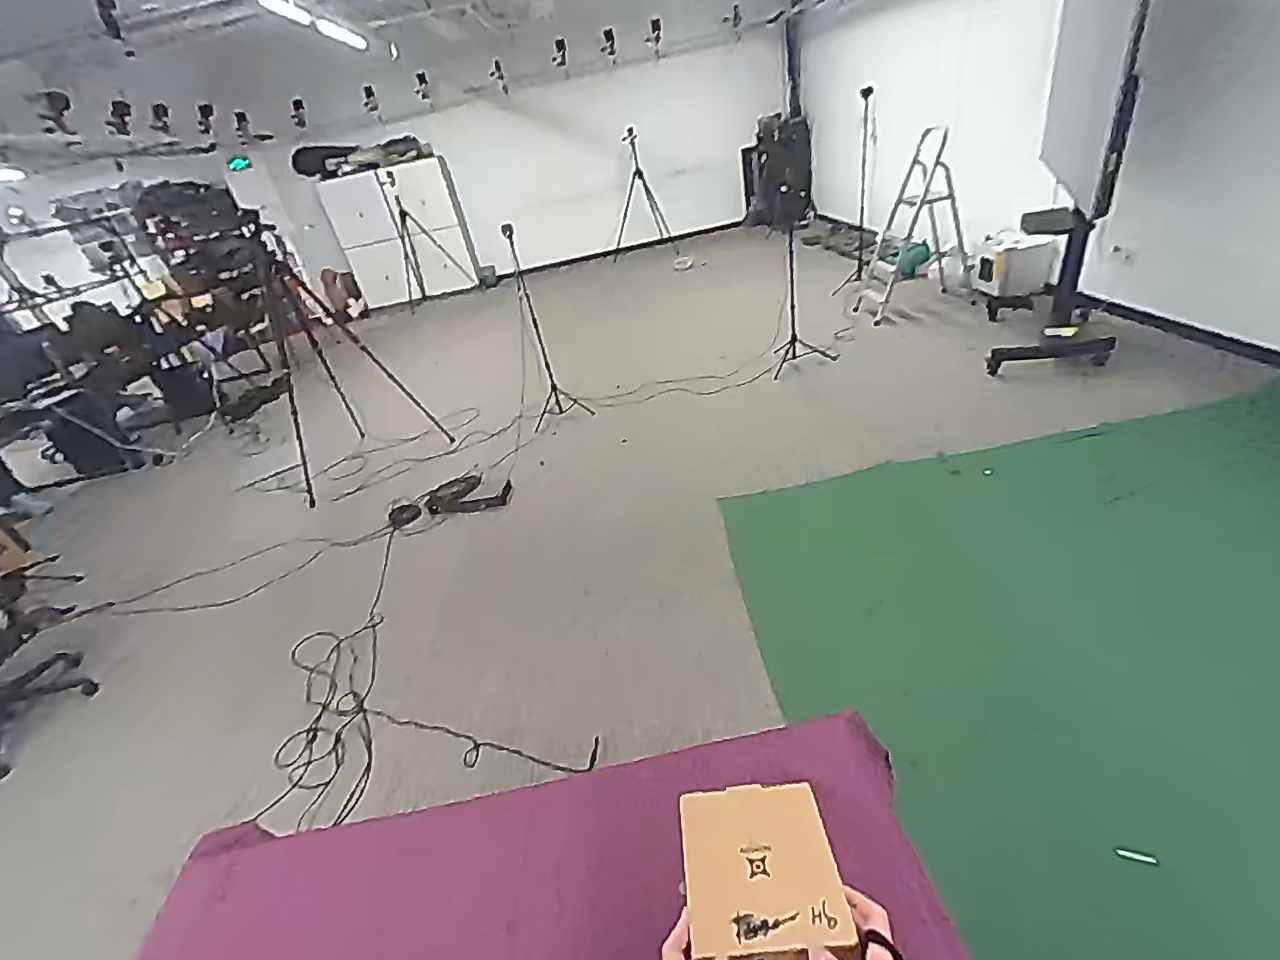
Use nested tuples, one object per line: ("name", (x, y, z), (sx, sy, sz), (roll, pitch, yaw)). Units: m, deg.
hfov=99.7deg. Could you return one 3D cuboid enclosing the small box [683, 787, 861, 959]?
("small box", (0.143, 0.496, 0.626), (0.168, 0.176, 0.179), (-8, 23, 4))
